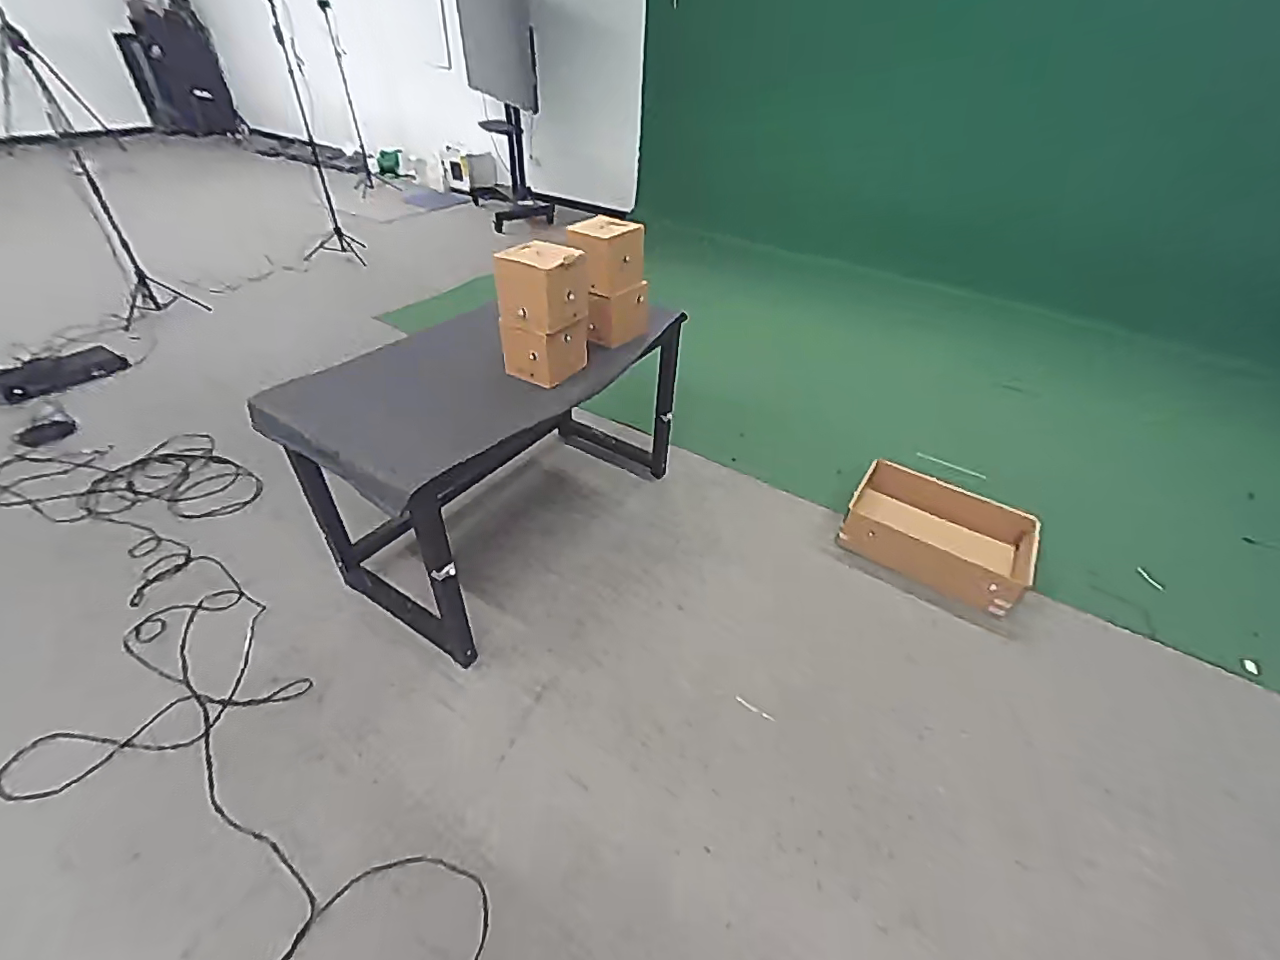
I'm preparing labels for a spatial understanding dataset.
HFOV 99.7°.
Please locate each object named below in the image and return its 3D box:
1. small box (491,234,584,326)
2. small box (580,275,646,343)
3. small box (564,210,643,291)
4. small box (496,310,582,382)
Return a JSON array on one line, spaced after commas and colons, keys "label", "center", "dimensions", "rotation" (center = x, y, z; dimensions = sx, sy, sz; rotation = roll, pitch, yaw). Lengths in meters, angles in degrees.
[{"label": "small box", "center": [-0.259, -0.517, 1.405], "dimensions": [0.179, 0.176, 0.168], "rotation": [24, 45, 22]}, {"label": "small box", "center": [-0.098, -0.561, 1.720], "dimensions": [0.168, 0.176, 0.179], "rotation": [27, 46, 27]}, {"label": "small box", "center": [-0.110, -0.684, 1.611], "dimensions": [0.168, 0.176, 0.179], "rotation": [26, 46, 26]}, {"label": "small box", "center": [-0.275, -0.397, 1.517], "dimensions": [0.168, 0.176, 0.179], "rotation": [24, 43, 22]}]
